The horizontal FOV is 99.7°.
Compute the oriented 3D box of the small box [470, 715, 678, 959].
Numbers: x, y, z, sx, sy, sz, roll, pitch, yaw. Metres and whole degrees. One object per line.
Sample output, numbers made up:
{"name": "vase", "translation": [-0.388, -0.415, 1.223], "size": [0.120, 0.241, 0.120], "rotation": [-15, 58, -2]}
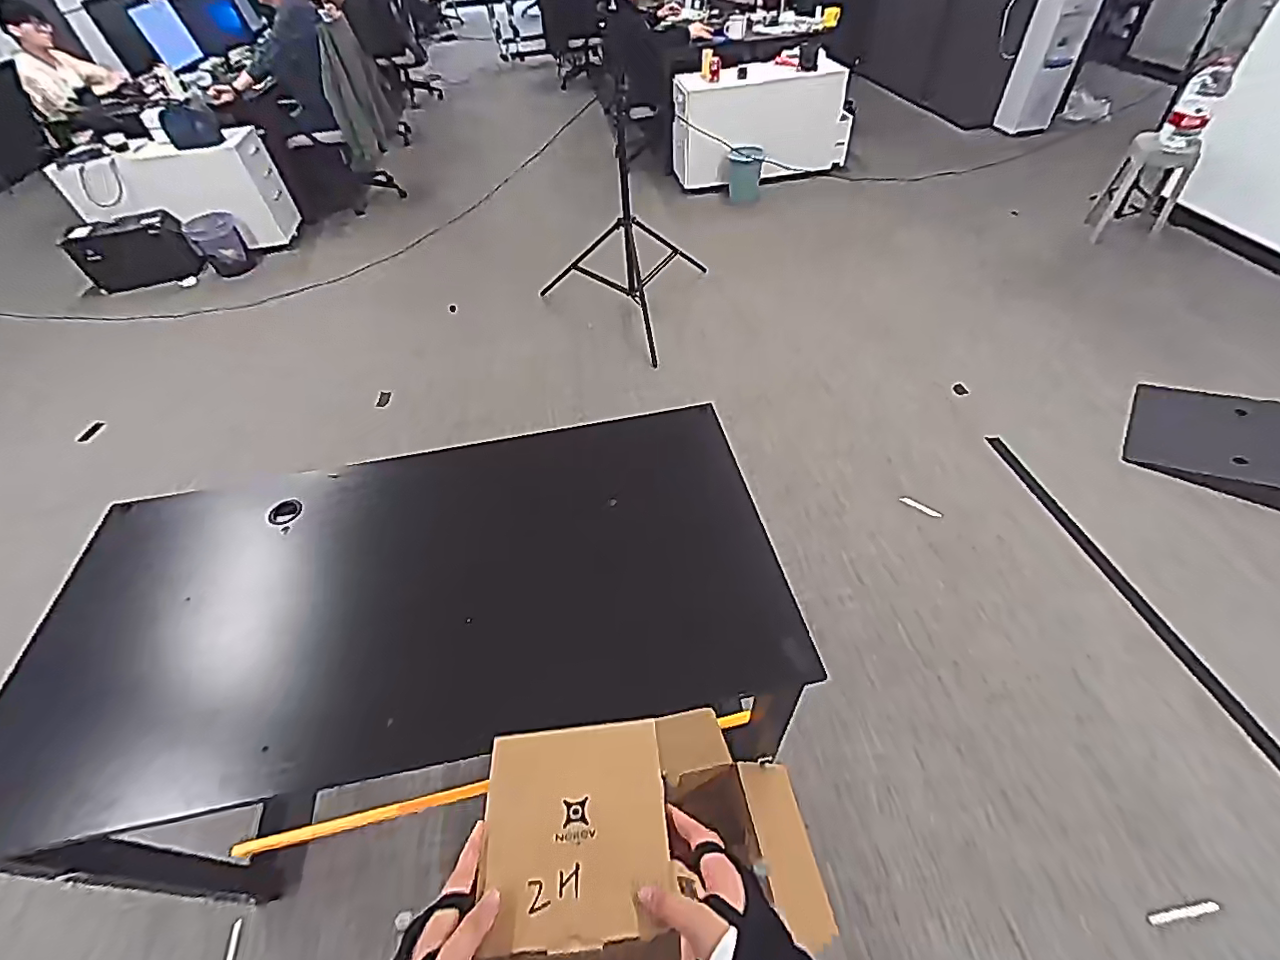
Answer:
{"name": "small box", "translation": [-0.054, 0.363, 0.535], "size": [0.168, 0.176, 0.179], "rotation": [-6, 41, -1]}
